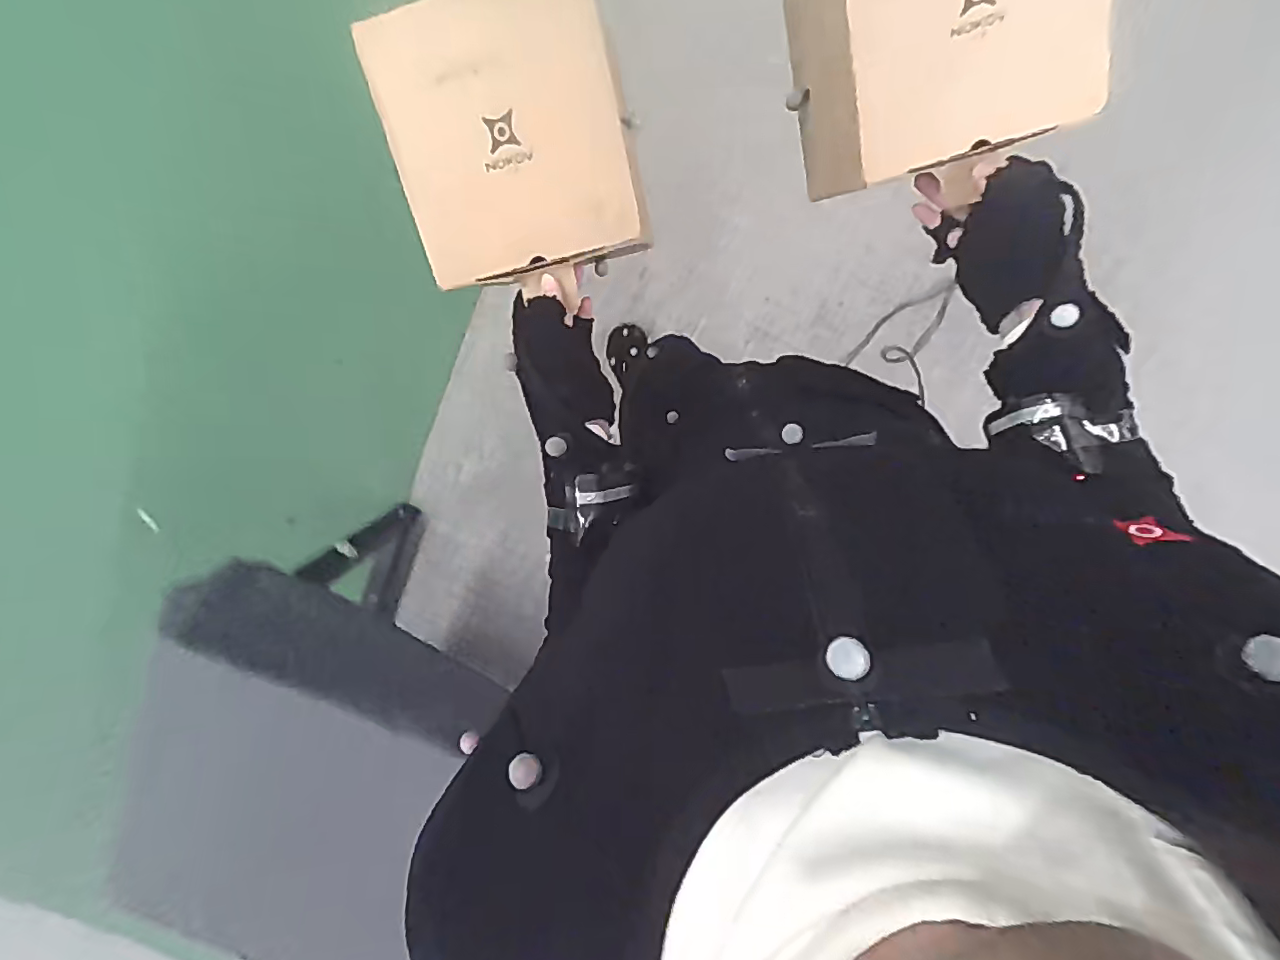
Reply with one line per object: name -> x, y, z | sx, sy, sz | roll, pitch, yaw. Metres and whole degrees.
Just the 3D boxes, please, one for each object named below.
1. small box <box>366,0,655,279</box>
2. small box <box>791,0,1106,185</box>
small box -> -0.085, -0.282, 0.461 | 0.168, 0.176, 0.179 | -10, 111, 8
small box -> 0.228, -0.351, 0.434 | 0.168, 0.176, 0.179 | -12, 114, 7
